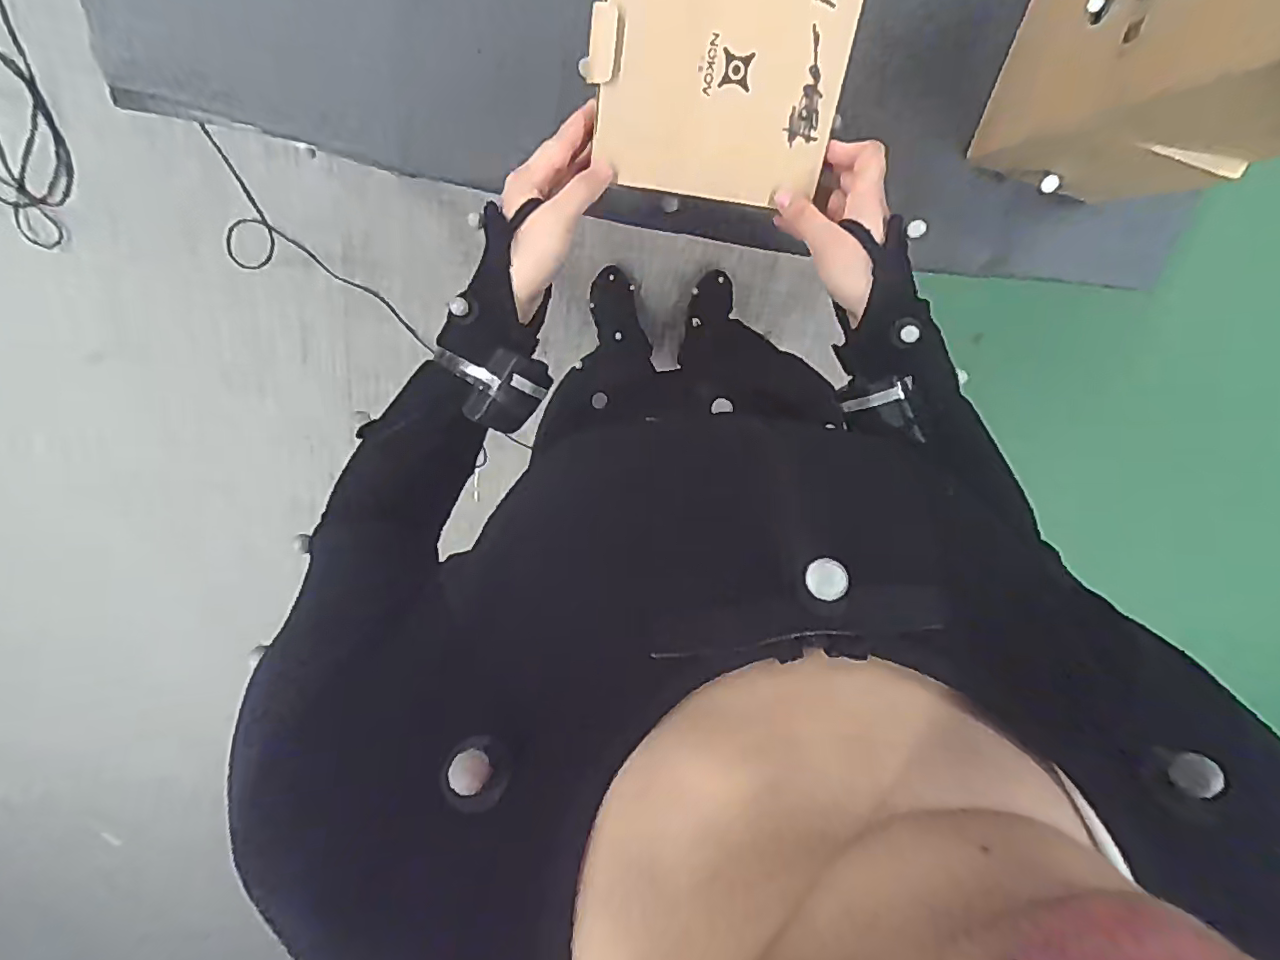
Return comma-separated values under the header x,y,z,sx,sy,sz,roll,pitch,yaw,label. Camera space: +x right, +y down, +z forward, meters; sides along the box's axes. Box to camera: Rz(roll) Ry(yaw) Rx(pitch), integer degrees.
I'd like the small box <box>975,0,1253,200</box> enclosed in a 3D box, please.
x,y,z,sx,sy,sz,roll,pitch,yaw,label
0.465,-0.387,0.510,0.168,0.176,0.179,13,110,-7,small box

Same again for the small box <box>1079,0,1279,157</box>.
x,y,z,sx,sy,sz,roll,pitch,yaw,label
0.461,-0.331,0.358,0.179,0.176,0.168,6,109,-3,small box
